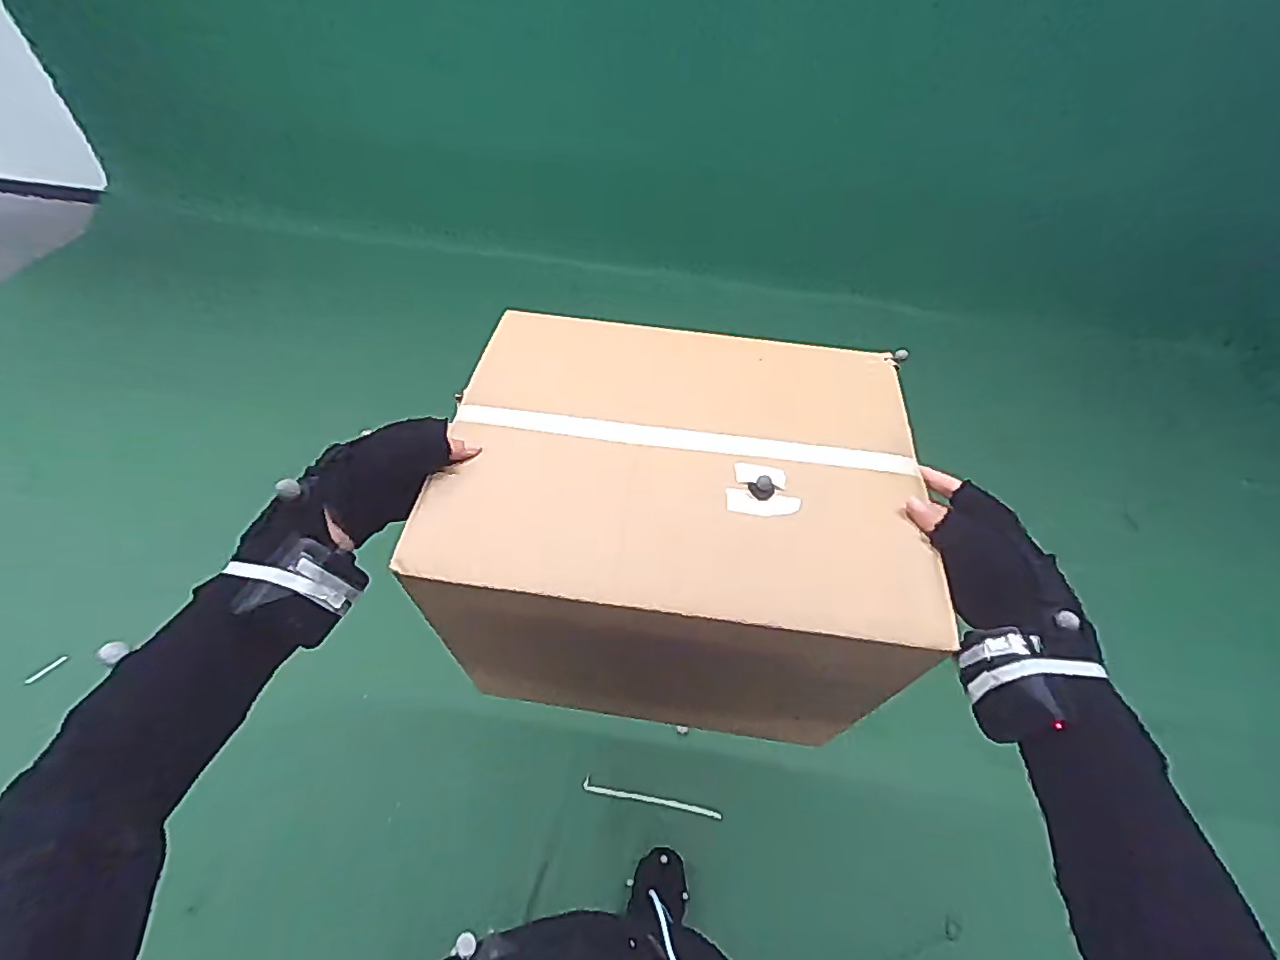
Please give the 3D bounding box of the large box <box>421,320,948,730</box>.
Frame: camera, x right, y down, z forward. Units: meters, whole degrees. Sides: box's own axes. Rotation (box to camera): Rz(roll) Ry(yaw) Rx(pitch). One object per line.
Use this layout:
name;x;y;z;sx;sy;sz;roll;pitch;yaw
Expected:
large box;0.037;0.059;0.605;0.408;0.320;0.320;8;53;2
